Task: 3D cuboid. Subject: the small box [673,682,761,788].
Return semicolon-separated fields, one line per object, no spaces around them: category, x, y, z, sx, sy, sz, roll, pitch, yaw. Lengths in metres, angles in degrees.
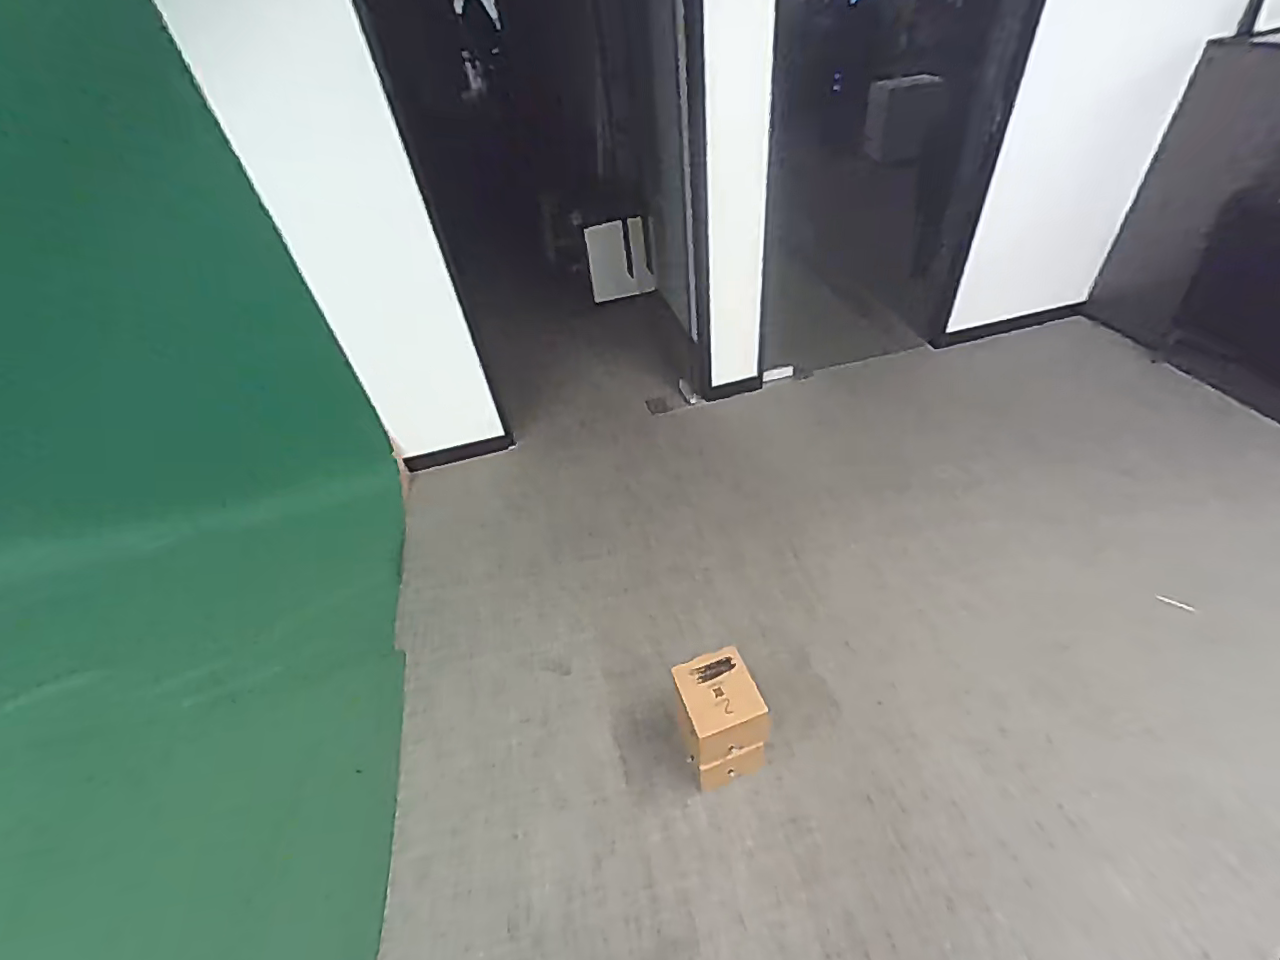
small box;0.195;0.657;1.378;0.168;0.176;0.179;-17;44;-10
